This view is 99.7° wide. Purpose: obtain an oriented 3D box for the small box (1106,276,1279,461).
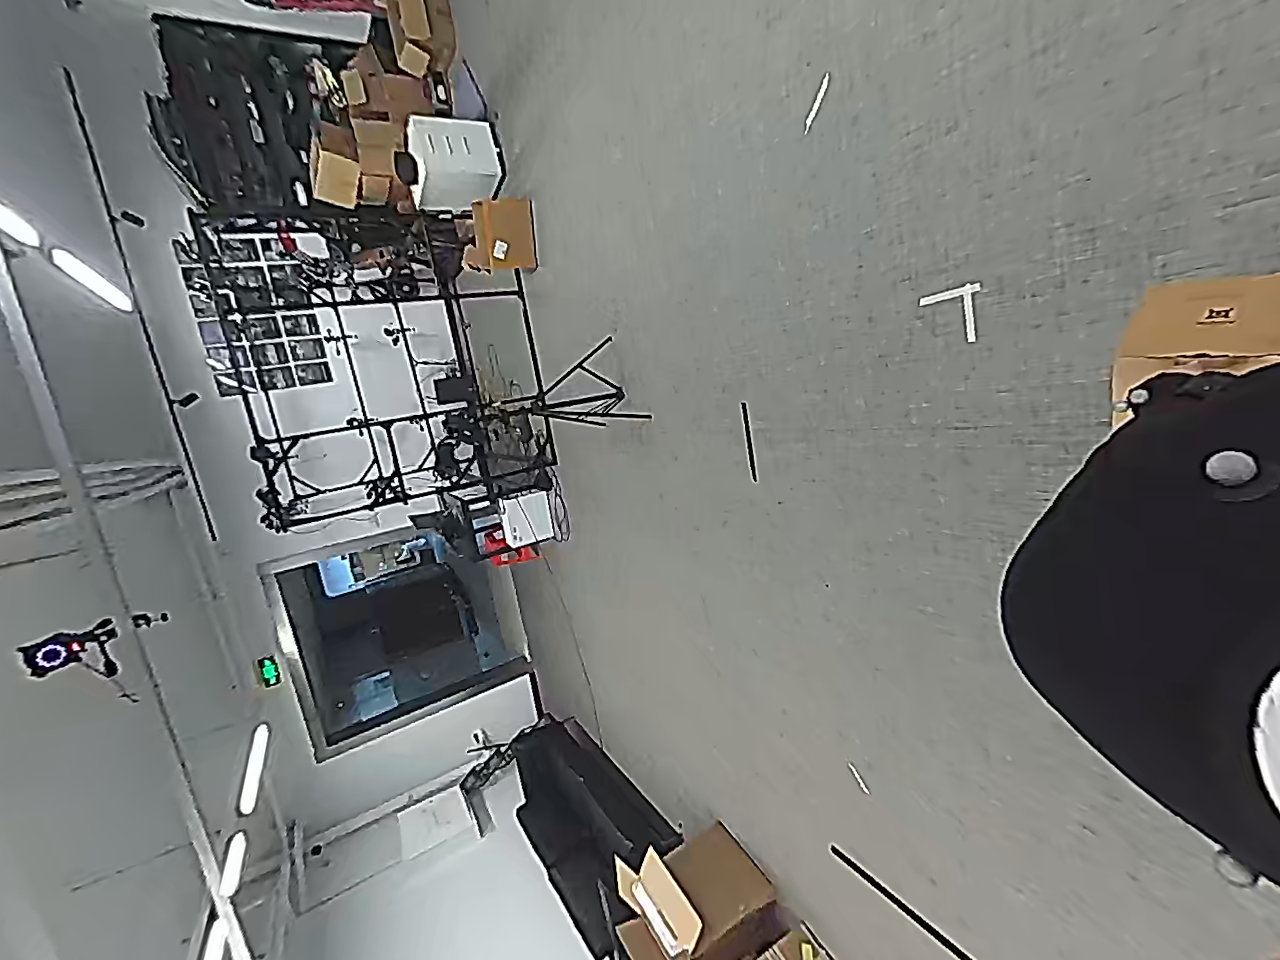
[{"bbox_3d":[0.753,-0.146,0.721,0.168,0.179,0.176,15,143,49],"label":"small box"}]
